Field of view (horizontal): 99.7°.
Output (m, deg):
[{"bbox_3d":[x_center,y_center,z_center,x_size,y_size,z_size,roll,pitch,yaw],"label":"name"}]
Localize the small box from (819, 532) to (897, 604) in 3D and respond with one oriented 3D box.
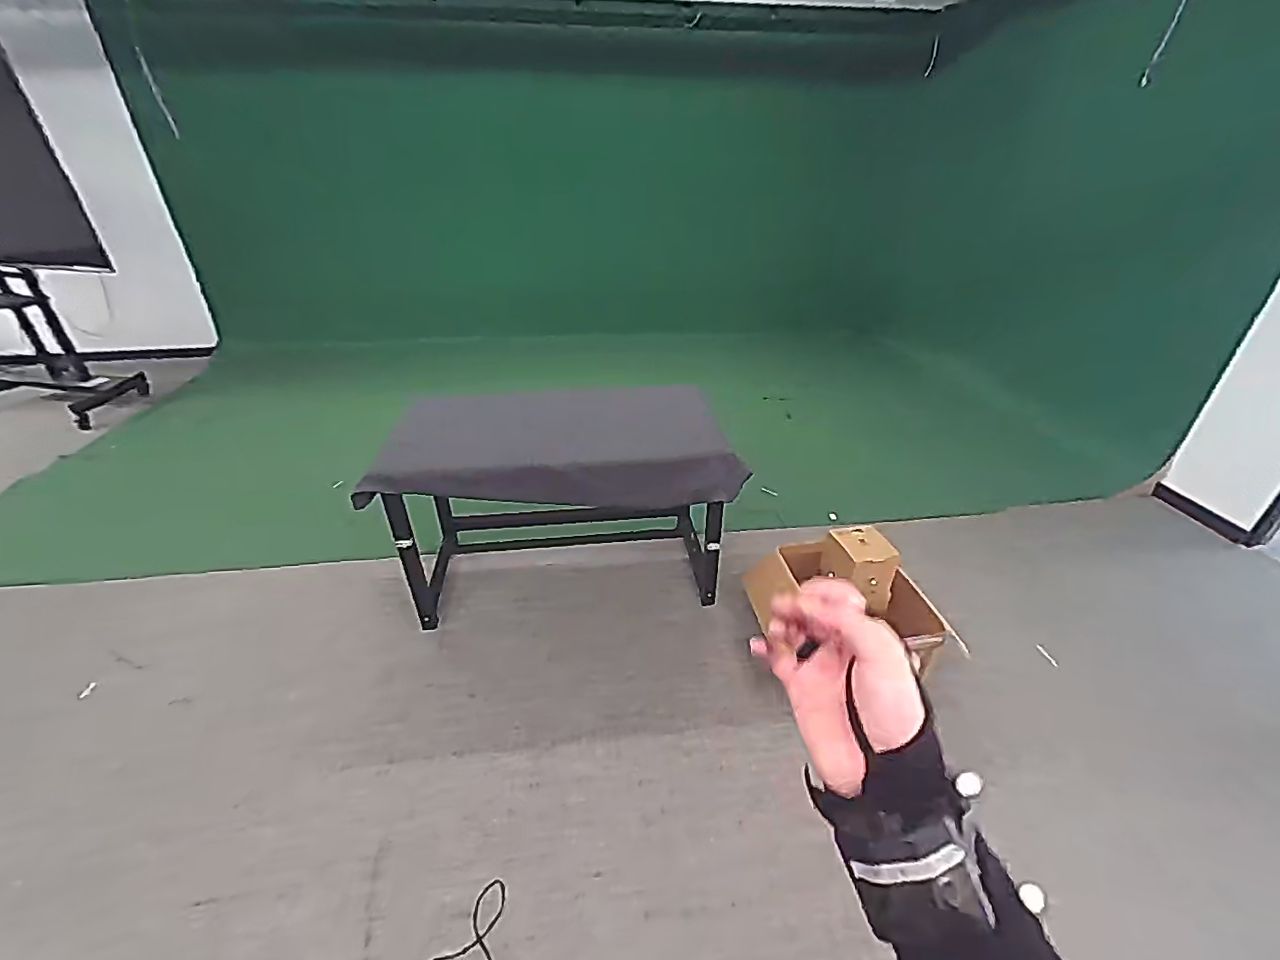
[{"bbox_3d":[0.734,0.305,1.837,0.168,0.176,0.179,-7,32,-13],"label":"small box"}]
